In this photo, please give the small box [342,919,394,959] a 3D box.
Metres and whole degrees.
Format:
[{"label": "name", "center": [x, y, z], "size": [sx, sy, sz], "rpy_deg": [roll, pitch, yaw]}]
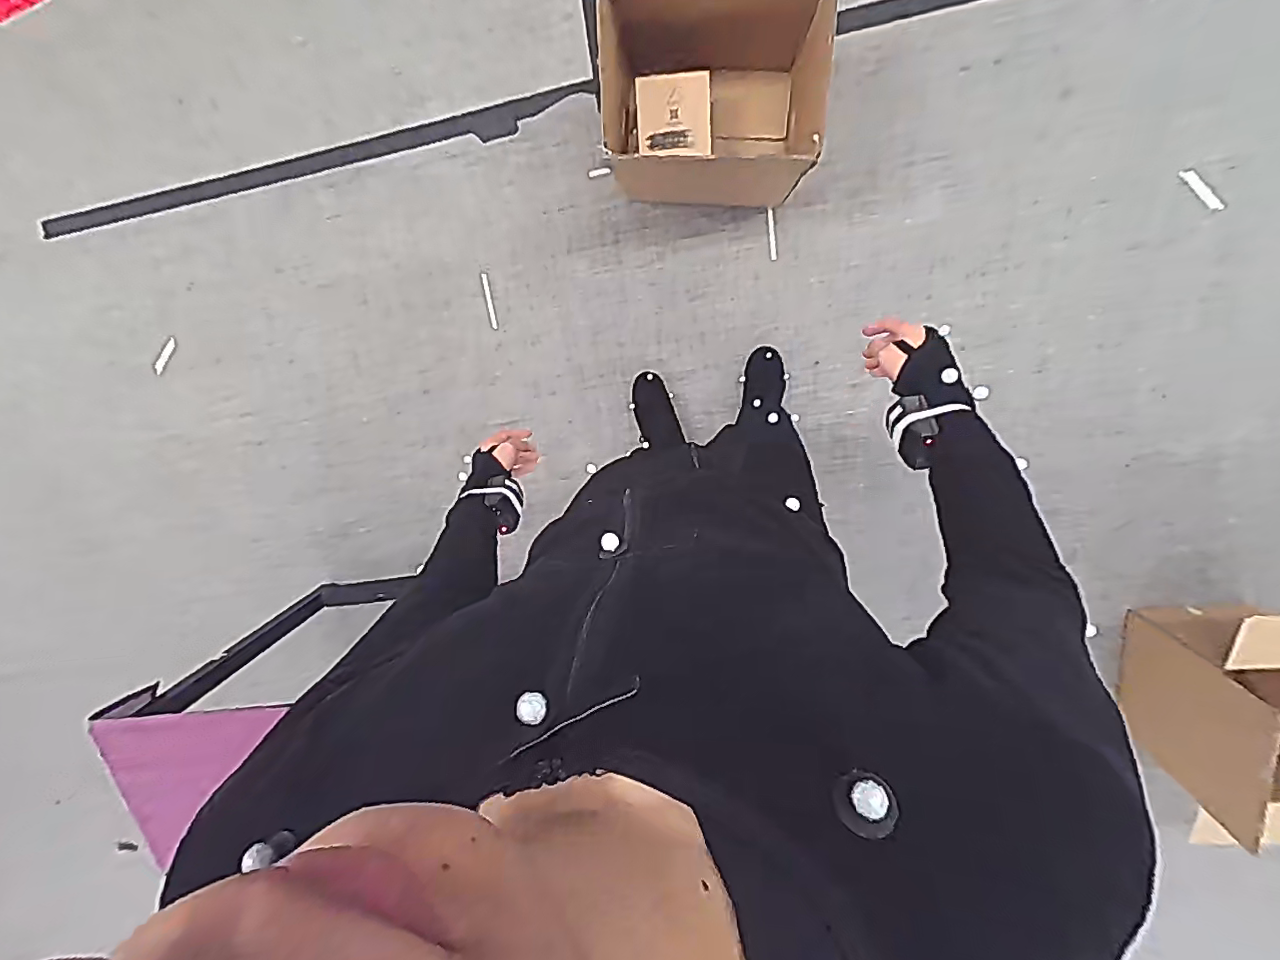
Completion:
[{"label": "small box", "center": [-0.667, 1.107, 1.191], "size": [0.179, 0.176, 0.168], "rpy_deg": [-4, 105, 8]}]
